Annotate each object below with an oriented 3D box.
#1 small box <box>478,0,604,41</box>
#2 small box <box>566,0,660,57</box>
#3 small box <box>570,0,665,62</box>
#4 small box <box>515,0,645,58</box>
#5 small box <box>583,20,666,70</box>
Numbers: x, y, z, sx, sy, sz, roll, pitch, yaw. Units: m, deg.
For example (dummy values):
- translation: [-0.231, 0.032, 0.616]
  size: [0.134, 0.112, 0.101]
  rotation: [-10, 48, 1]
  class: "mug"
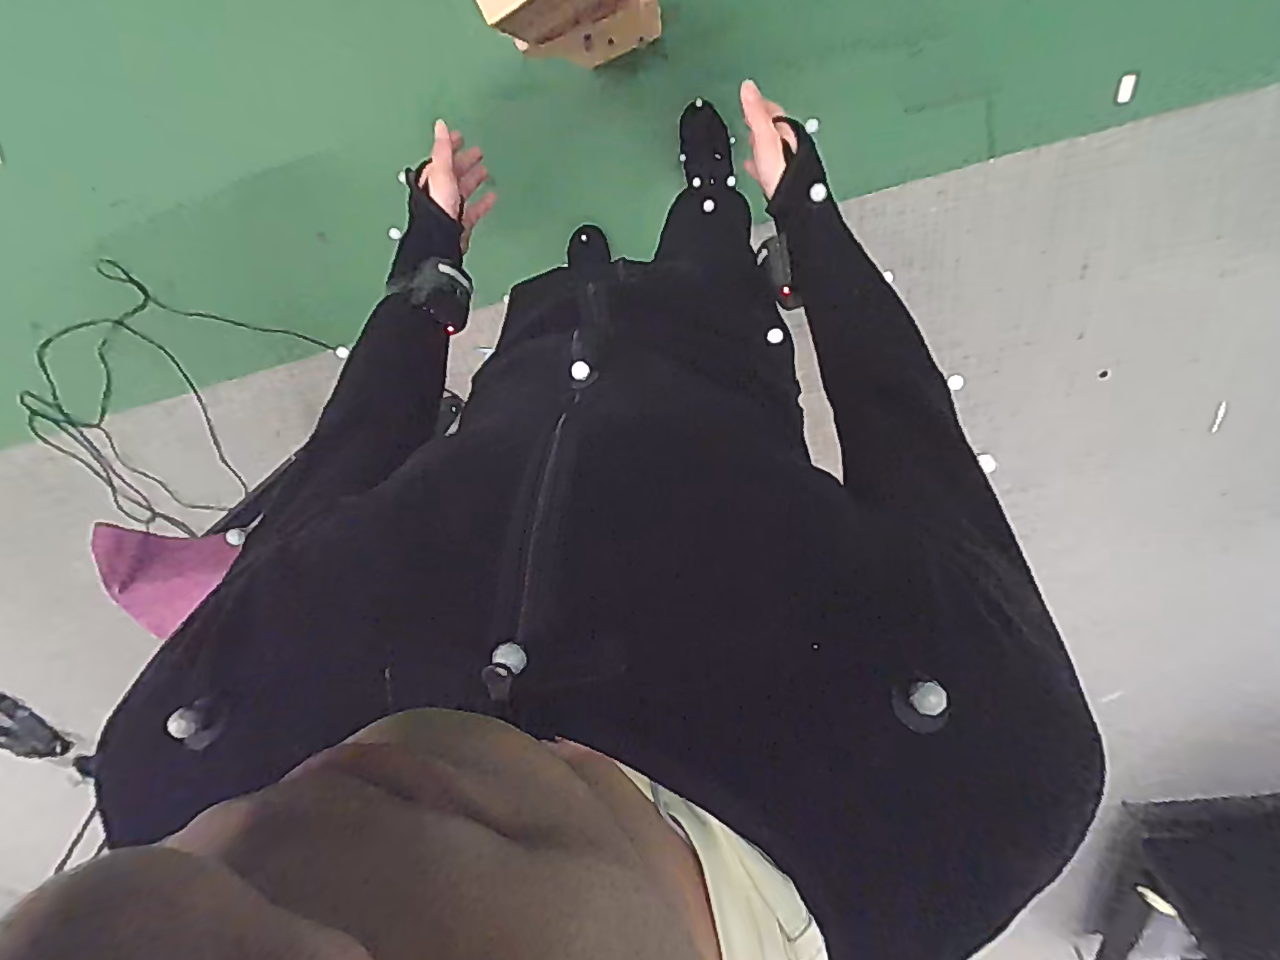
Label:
- translation: [-0.101, -0.592, 0.552]
  size: [0.179, 0.176, 0.168]
  rotation: [-19, 120, 17]
  class: "small box"
- translation: [-0.074, -0.776, 0.821]
  size: [0.179, 0.176, 0.168]
  rotation: [-16, 122, 13]
  class: "small box"
- translation: [-0.061, -0.870, 0.954]
  size: [0.179, 0.176, 0.168]
  rotation: [-14, 122, 12]
  class: "small box"
- translation: [-0.094, -0.673, 0.695]
  size: [0.168, 0.176, 0.179]
  rotation: [-12, 123, 12]
  class: "small box"
- translation: [-0.055, -0.960, 1.089]
  size: [0.179, 0.176, 0.168]
  rotation: [-15, 121, 13]
  class: "small box"
